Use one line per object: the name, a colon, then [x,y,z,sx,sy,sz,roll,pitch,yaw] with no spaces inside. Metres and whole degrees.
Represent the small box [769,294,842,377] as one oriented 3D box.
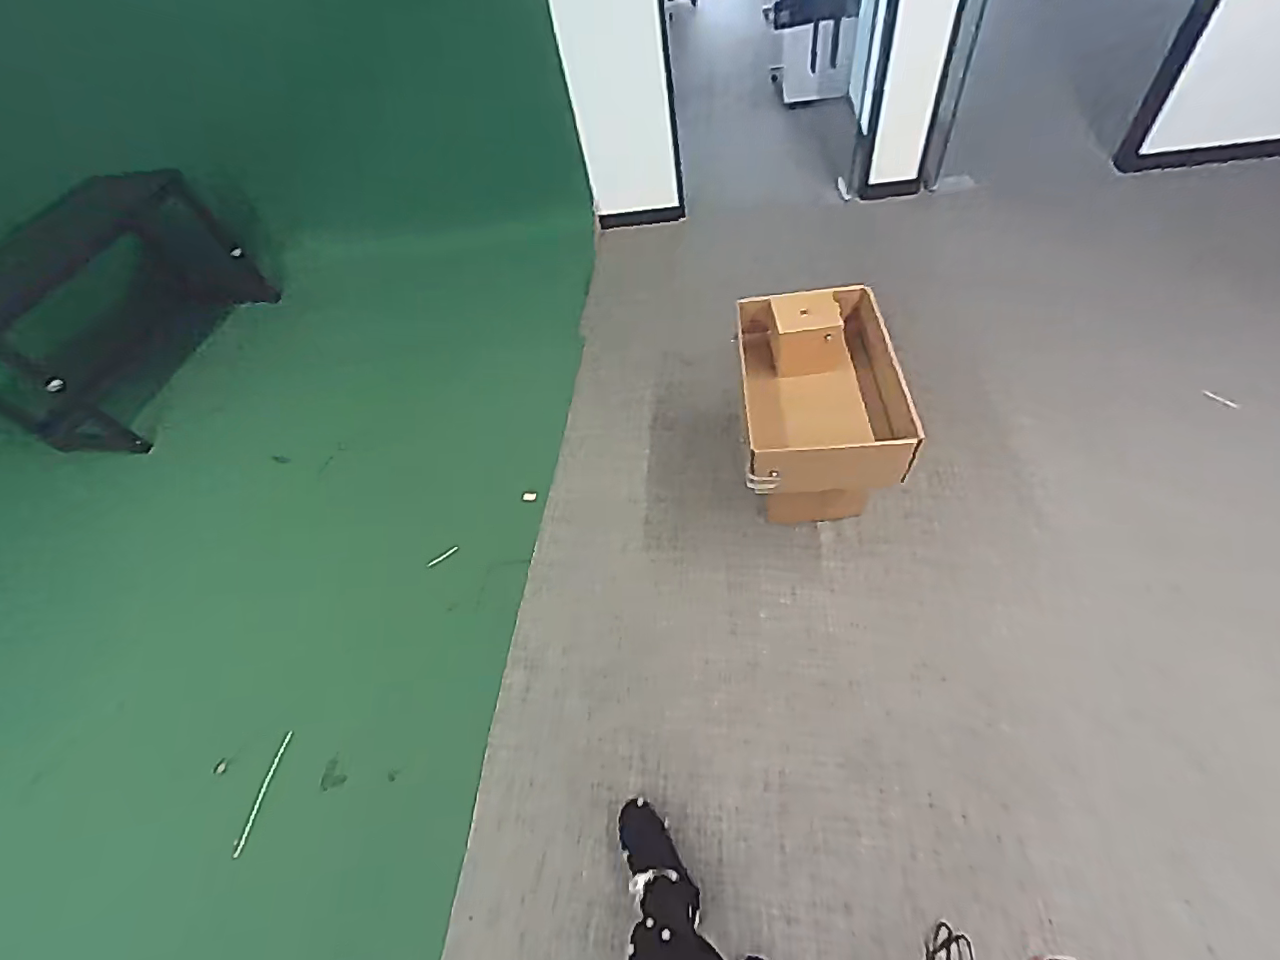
small box: [0.480,-0.420,1.595,0.179,0.176,0.168,-6,52,6]
